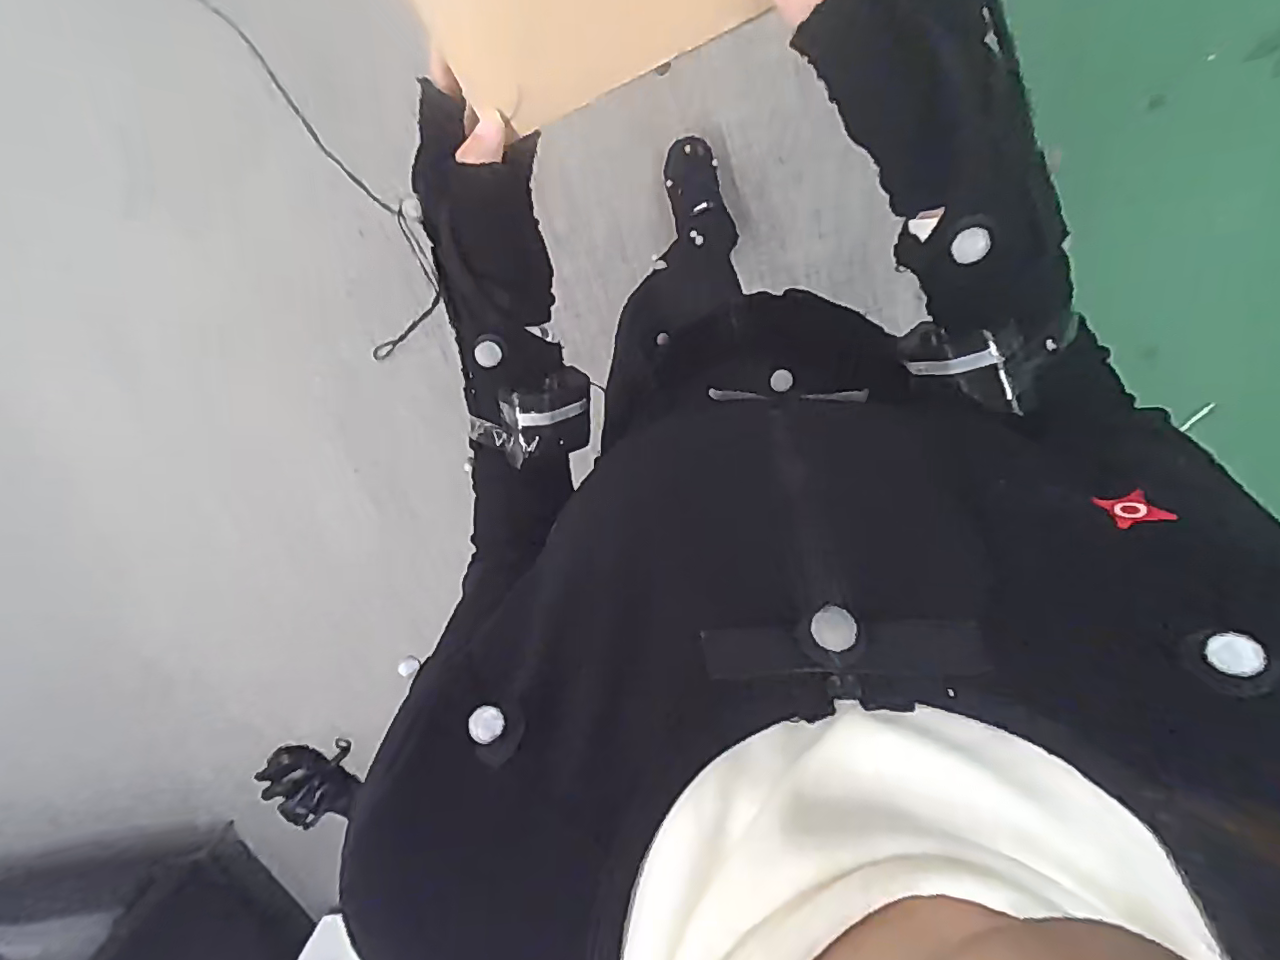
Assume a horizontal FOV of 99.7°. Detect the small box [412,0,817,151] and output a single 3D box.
[{"bbox_3d":[-0.017,-0.297,0.245,0.179,0.176,0.168,-9,138,25],"label":"small box"}]
